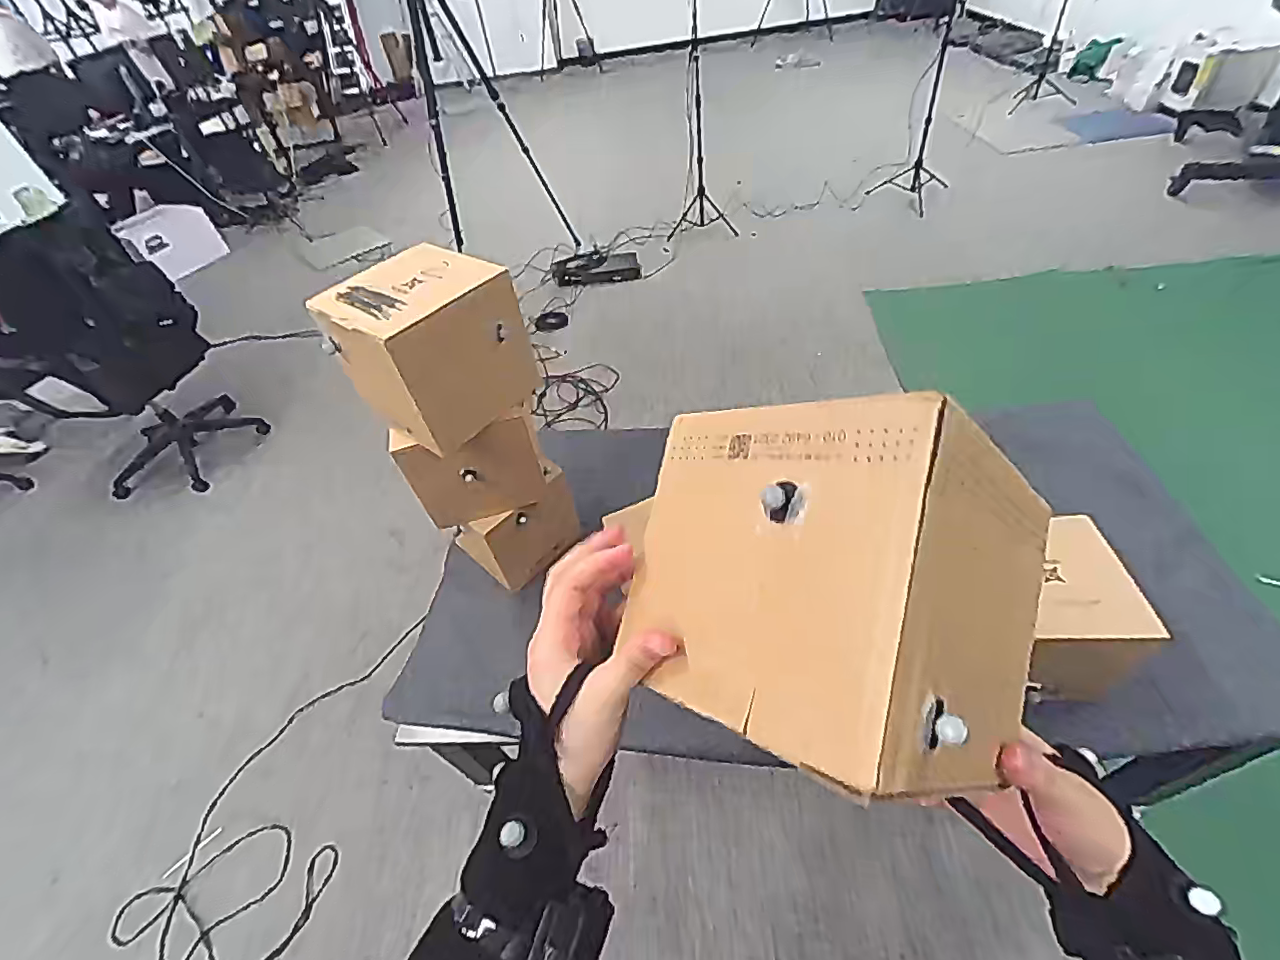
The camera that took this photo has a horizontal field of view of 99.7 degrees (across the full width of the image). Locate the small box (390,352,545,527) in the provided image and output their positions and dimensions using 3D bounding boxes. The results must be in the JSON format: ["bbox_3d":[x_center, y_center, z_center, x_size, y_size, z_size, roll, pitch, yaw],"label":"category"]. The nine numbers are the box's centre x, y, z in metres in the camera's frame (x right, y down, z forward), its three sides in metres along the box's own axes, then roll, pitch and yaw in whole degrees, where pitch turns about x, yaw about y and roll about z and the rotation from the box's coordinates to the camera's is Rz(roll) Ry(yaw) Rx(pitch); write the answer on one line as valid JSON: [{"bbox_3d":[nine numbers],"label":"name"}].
[{"bbox_3d":[-0.248,-0.058,0.807,0.179,0.176,0.168,-17,48,-6],"label":"small box"}]

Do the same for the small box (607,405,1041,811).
[{"bbox_3d":[0.114,0.064,0.326,0.168,0.179,0.176,4,75,51],"label":"small box"}]

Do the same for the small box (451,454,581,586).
[{"bbox_3d":[-0.228,0.051,0.929,0.179,0.176,0.168,30,59,31],"label":"small box"}]

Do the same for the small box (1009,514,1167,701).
[{"bbox_3d":[0.494,0.164,0.697,0.168,0.176,0.179,-3,46,8],"label":"small box"}]

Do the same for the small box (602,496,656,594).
[{"bbox_3d":[0.061,0.135,0.798,0.168,0.176,0.179,-21,47,-11],"label":"small box"}]
